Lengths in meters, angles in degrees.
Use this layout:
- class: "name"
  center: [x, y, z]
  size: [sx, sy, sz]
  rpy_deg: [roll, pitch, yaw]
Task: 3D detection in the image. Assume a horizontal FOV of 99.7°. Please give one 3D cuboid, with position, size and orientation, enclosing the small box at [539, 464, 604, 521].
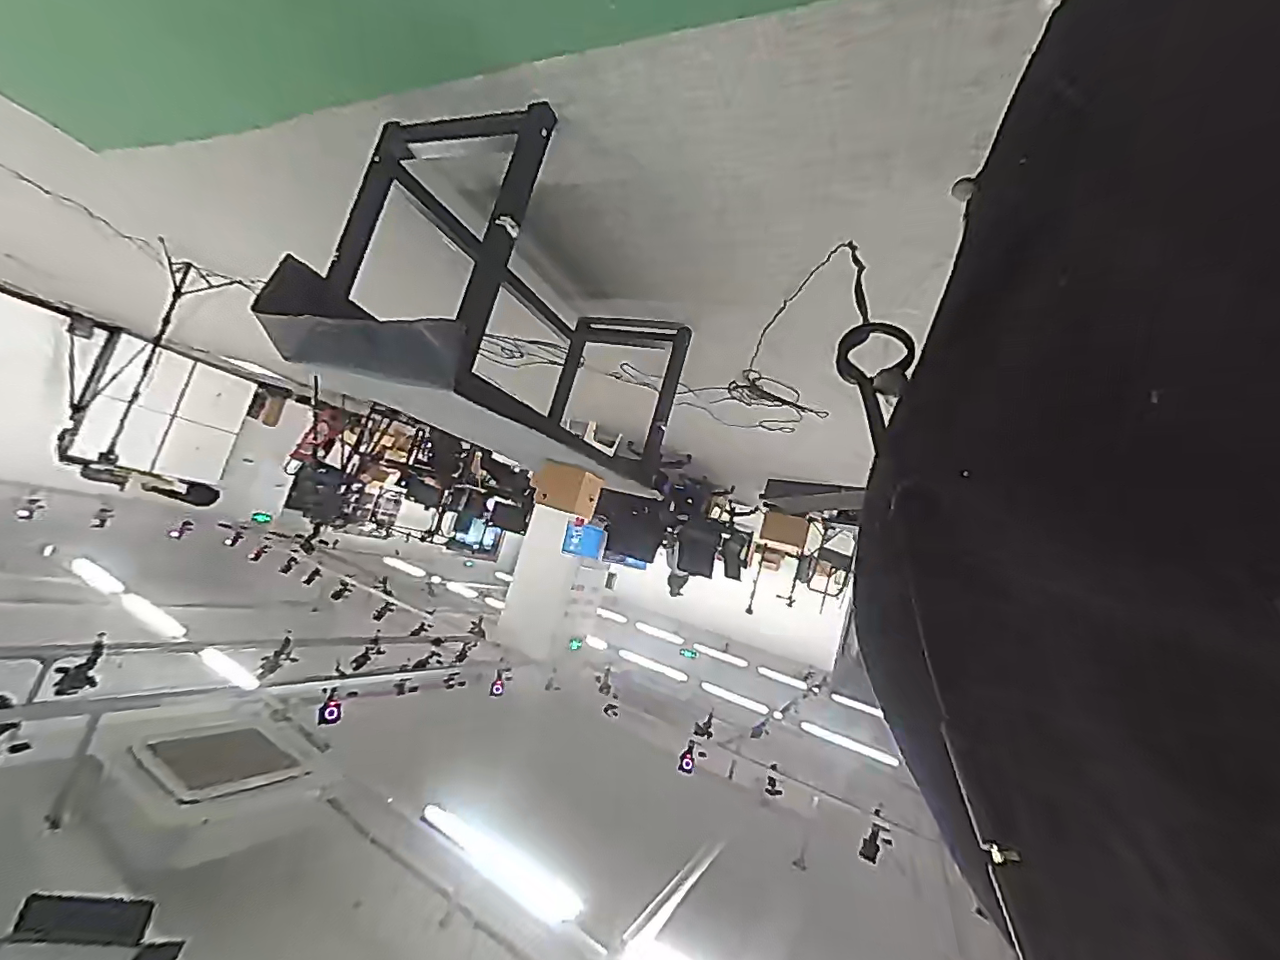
- class: "small box"
  center: [-0.250, 0.046, 2.043]
  size: [0.179, 0.176, 0.168]
  rpy_deg: [15, 173, 22]
